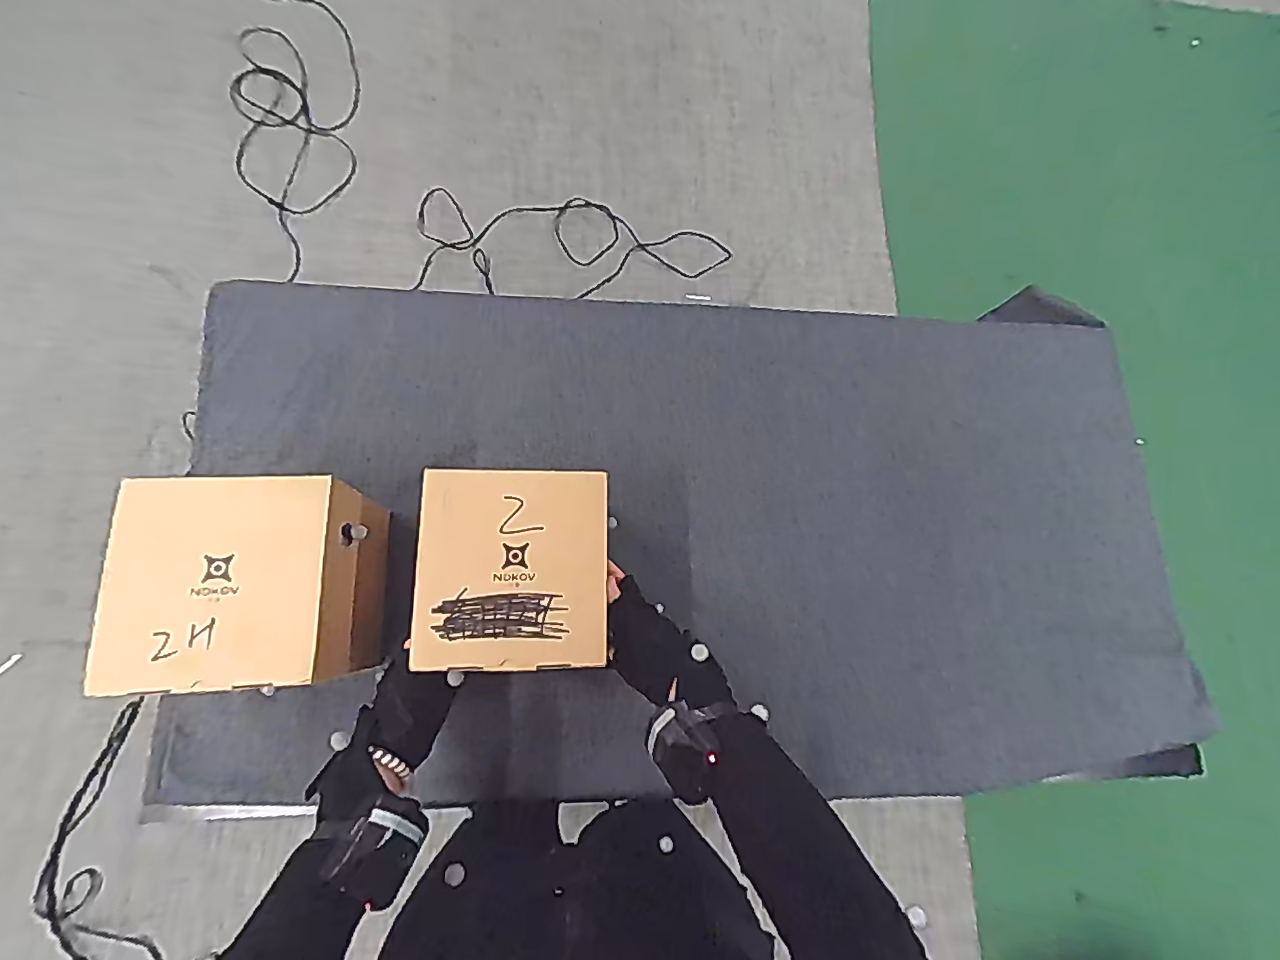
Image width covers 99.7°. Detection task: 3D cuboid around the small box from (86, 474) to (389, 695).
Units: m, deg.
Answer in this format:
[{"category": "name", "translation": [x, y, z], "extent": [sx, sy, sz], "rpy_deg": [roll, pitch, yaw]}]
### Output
[{"category": "small box", "translation": [-0.353, 0.100, 0.518], "extent": [0.168, 0.176, 0.179], "rpy_deg": [0, 76, -8]}]
